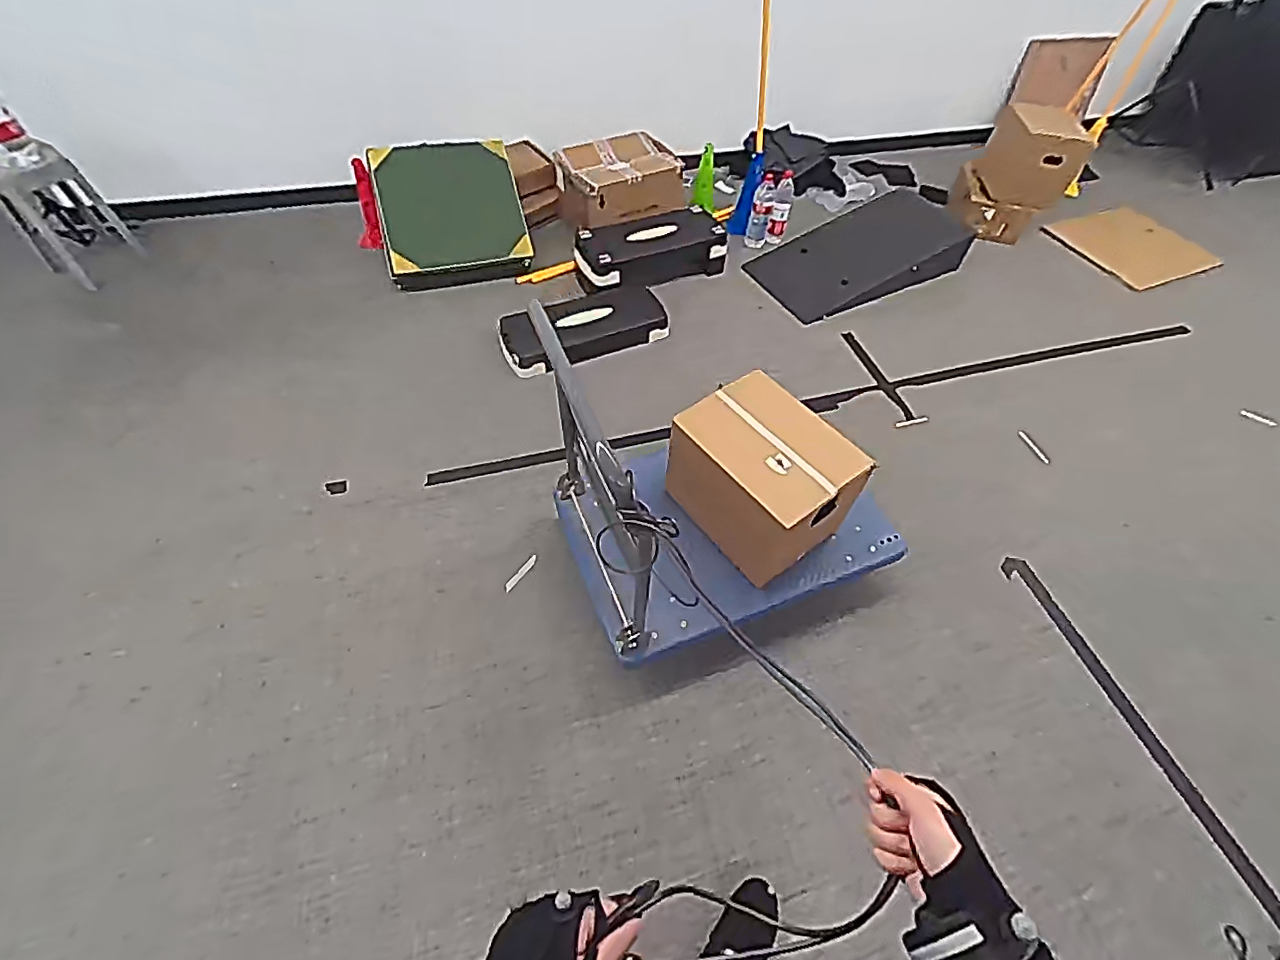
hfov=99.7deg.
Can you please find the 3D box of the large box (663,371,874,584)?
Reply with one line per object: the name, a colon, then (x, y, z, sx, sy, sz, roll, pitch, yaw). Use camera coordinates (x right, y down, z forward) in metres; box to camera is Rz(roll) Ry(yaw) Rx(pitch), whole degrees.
large box: (0.309, -0.010, 1.430, 0.320, 0.320, 0.408, -32, 62, -22)
